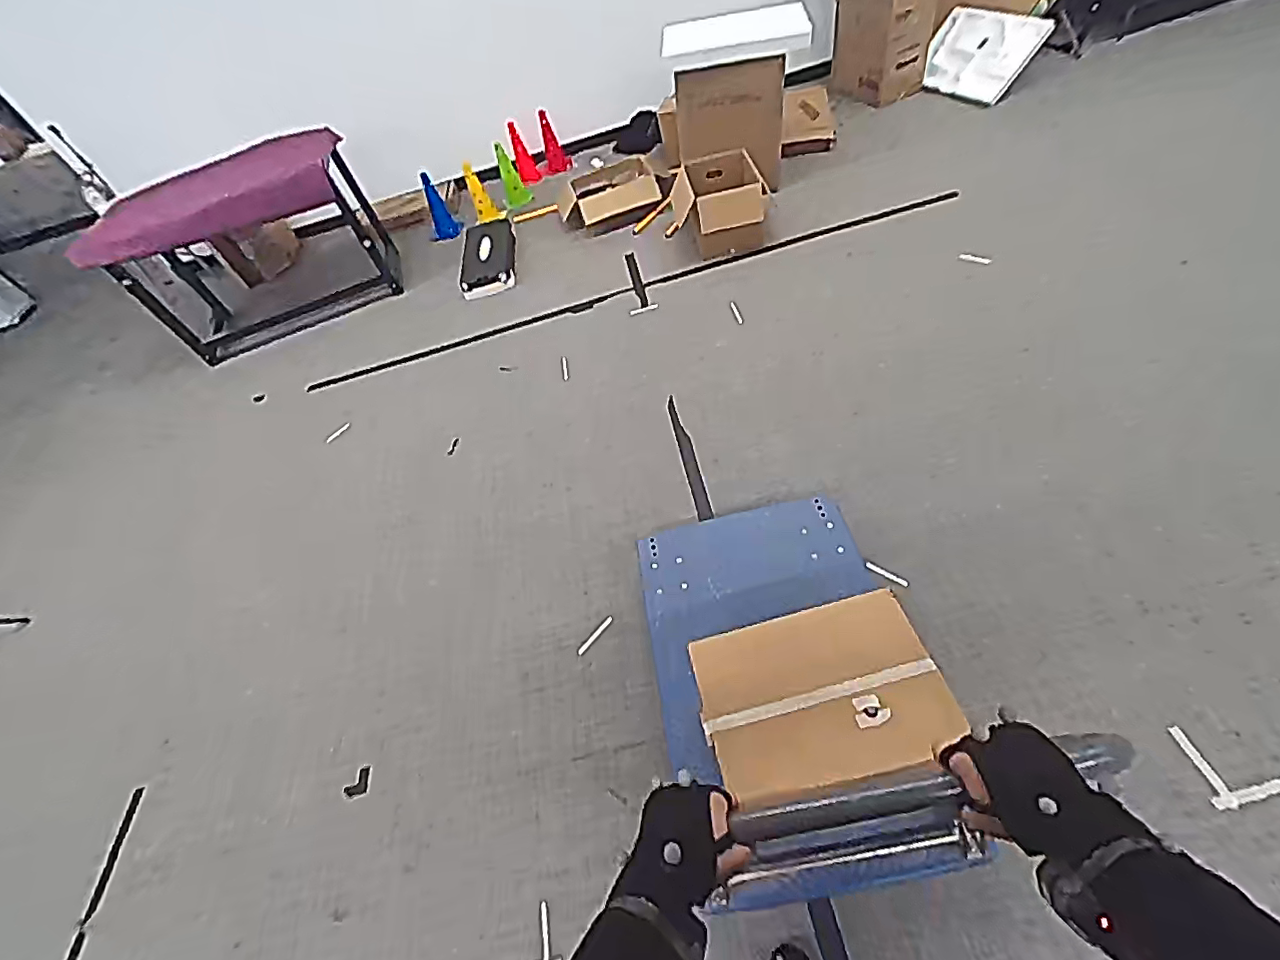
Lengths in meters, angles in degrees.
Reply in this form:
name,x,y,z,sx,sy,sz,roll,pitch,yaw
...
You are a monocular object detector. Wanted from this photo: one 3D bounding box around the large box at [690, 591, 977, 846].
name,x,y,z,sx,sy,sz,roll,pitch,yaw
large box,0.343,0.476,1.065,0.408,0.320,0.320,-16,50,1
